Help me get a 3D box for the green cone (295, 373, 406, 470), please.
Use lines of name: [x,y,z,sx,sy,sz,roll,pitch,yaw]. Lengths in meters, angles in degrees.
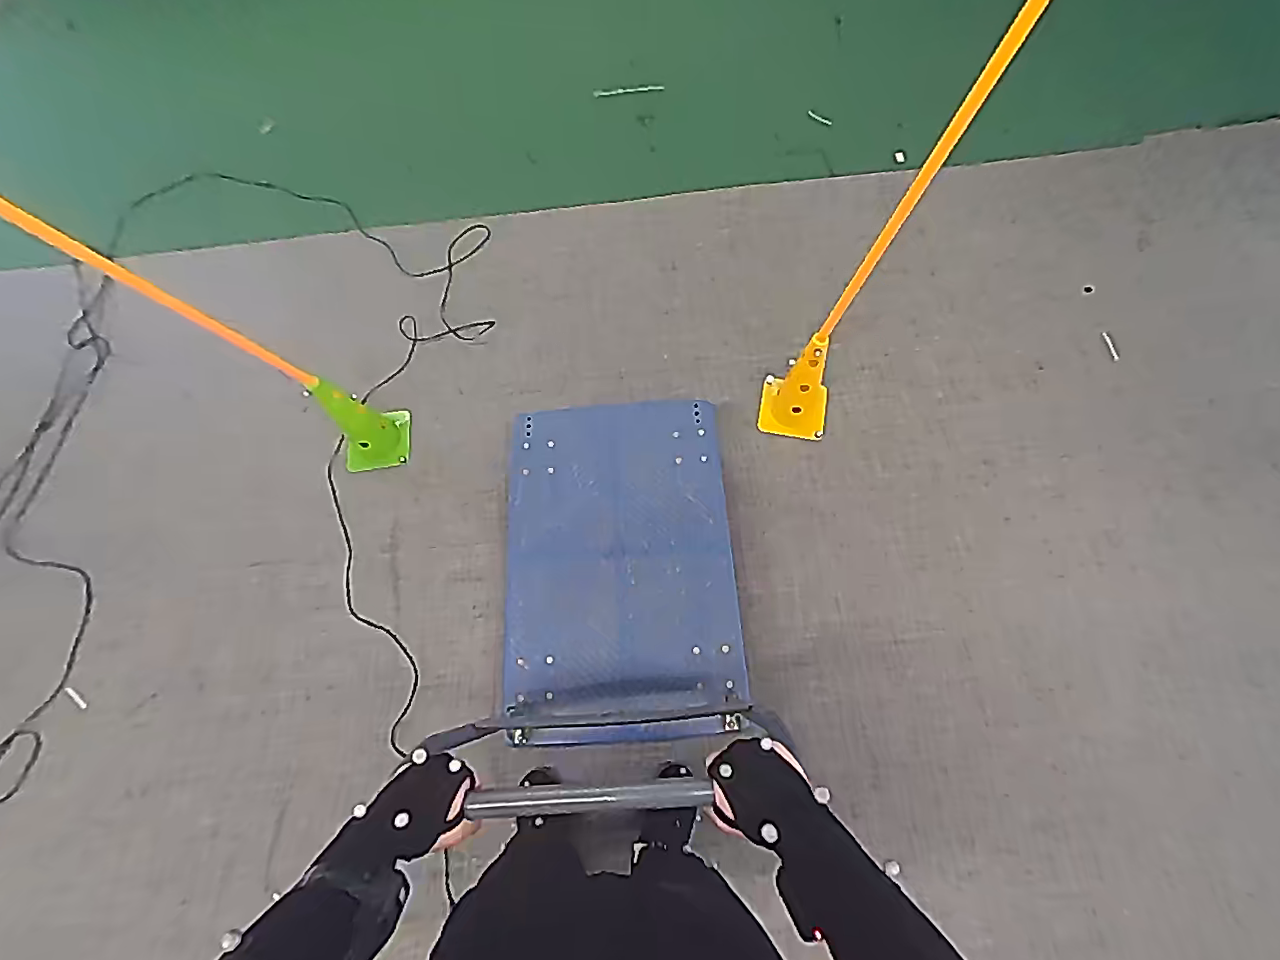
green cone: [-0.864,-0.202,1.576,0.202,0.368,0.200,-10,67,1]
